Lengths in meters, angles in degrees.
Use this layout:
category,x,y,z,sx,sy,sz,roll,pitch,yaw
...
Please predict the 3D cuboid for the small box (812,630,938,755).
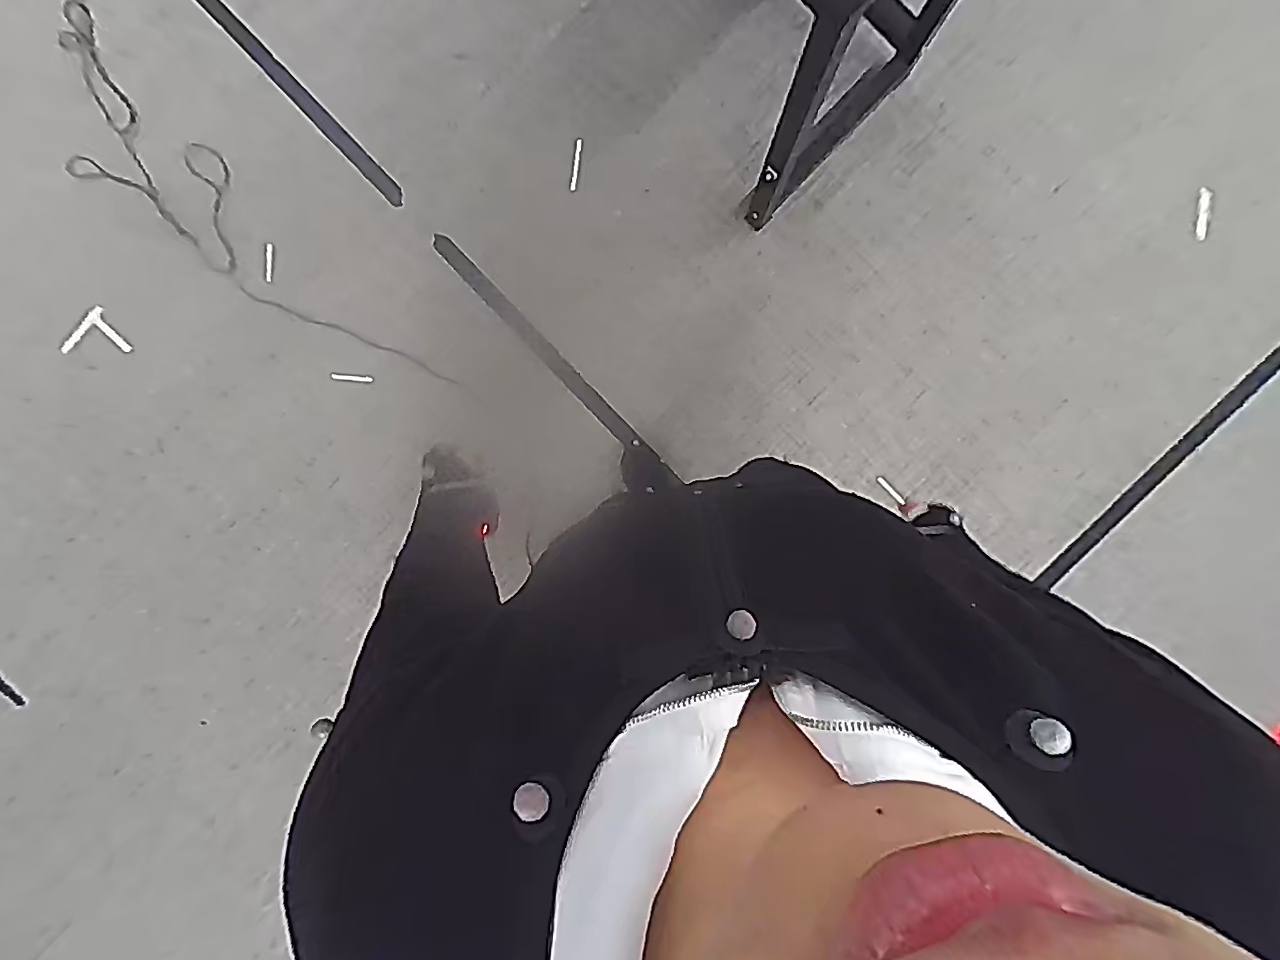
category,x,y,z,sx,sy,sz,roll,pitch,yaw
small box,0.530,0.477,1.245,0.179,0.176,0.168,43,93,0
